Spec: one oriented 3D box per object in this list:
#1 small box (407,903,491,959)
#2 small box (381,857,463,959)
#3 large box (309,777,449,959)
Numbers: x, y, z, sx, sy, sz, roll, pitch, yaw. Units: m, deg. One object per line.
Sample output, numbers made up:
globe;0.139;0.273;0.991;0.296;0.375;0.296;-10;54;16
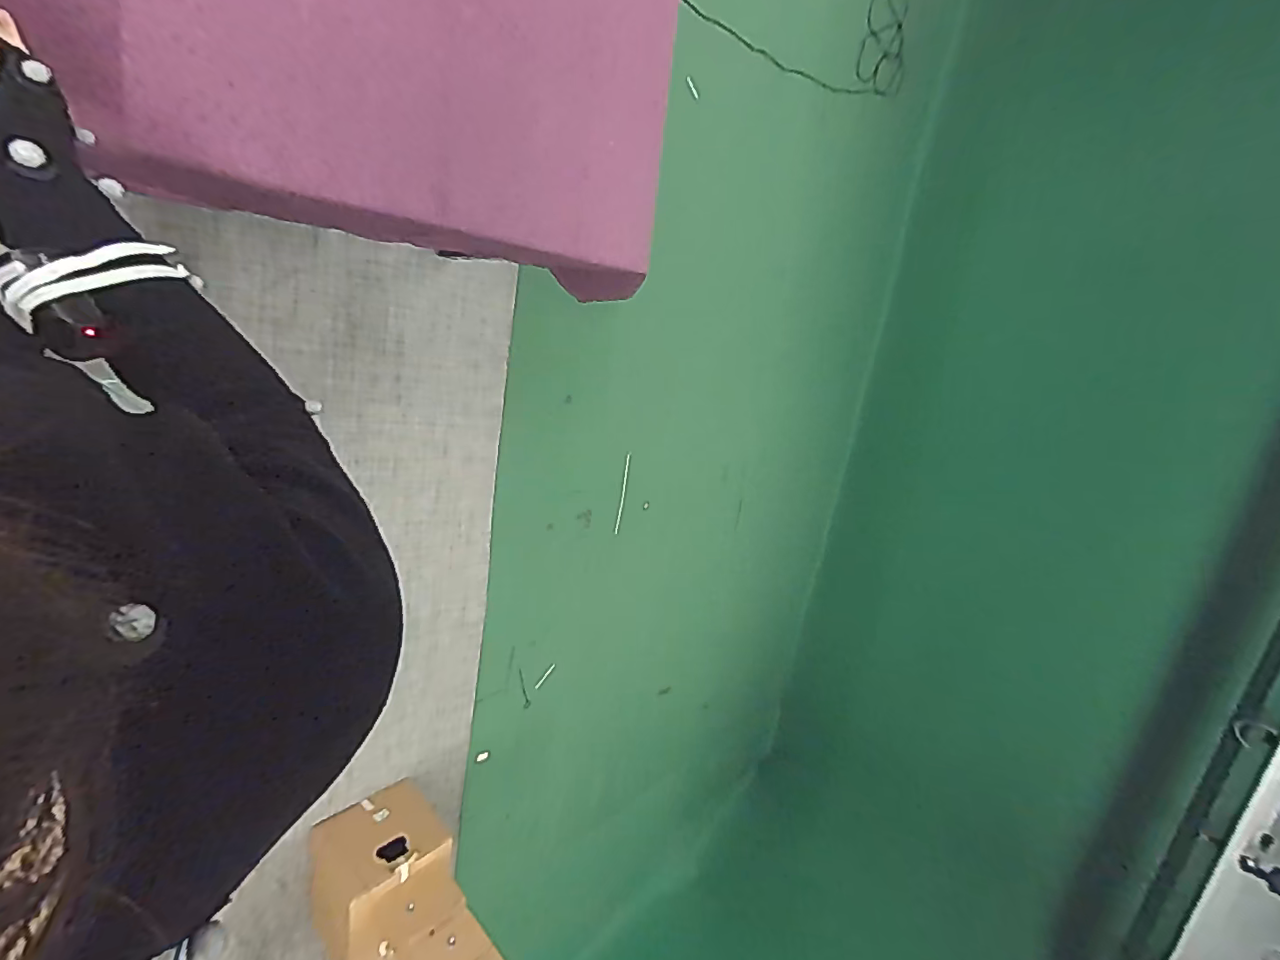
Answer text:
small box;-0.533;1.340;1.507;0.168;0.176;0.179;-15;118;-45
small box;-0.652;1.287;1.607;0.179;0.176;0.168;-10;115;-48
large box;-0.853;1.287;1.763;0.320;0.320;0.408;-8;113;-48
